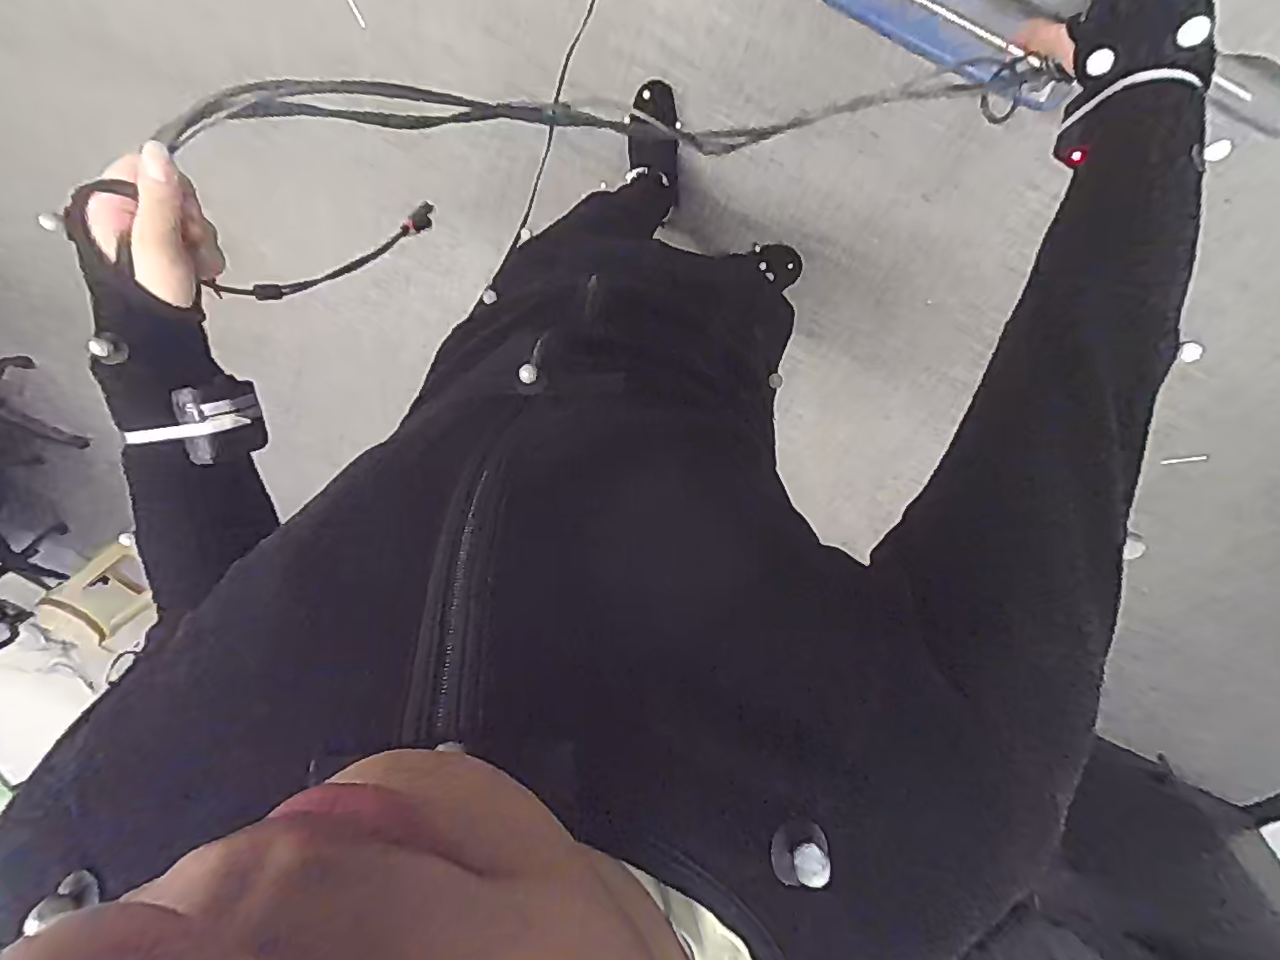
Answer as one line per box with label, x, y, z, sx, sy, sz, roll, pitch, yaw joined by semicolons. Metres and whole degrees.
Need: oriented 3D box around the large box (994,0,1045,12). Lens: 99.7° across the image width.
large box;0.552;-0.920;0.680;0.320;0.320;0.408;26;126;-5
